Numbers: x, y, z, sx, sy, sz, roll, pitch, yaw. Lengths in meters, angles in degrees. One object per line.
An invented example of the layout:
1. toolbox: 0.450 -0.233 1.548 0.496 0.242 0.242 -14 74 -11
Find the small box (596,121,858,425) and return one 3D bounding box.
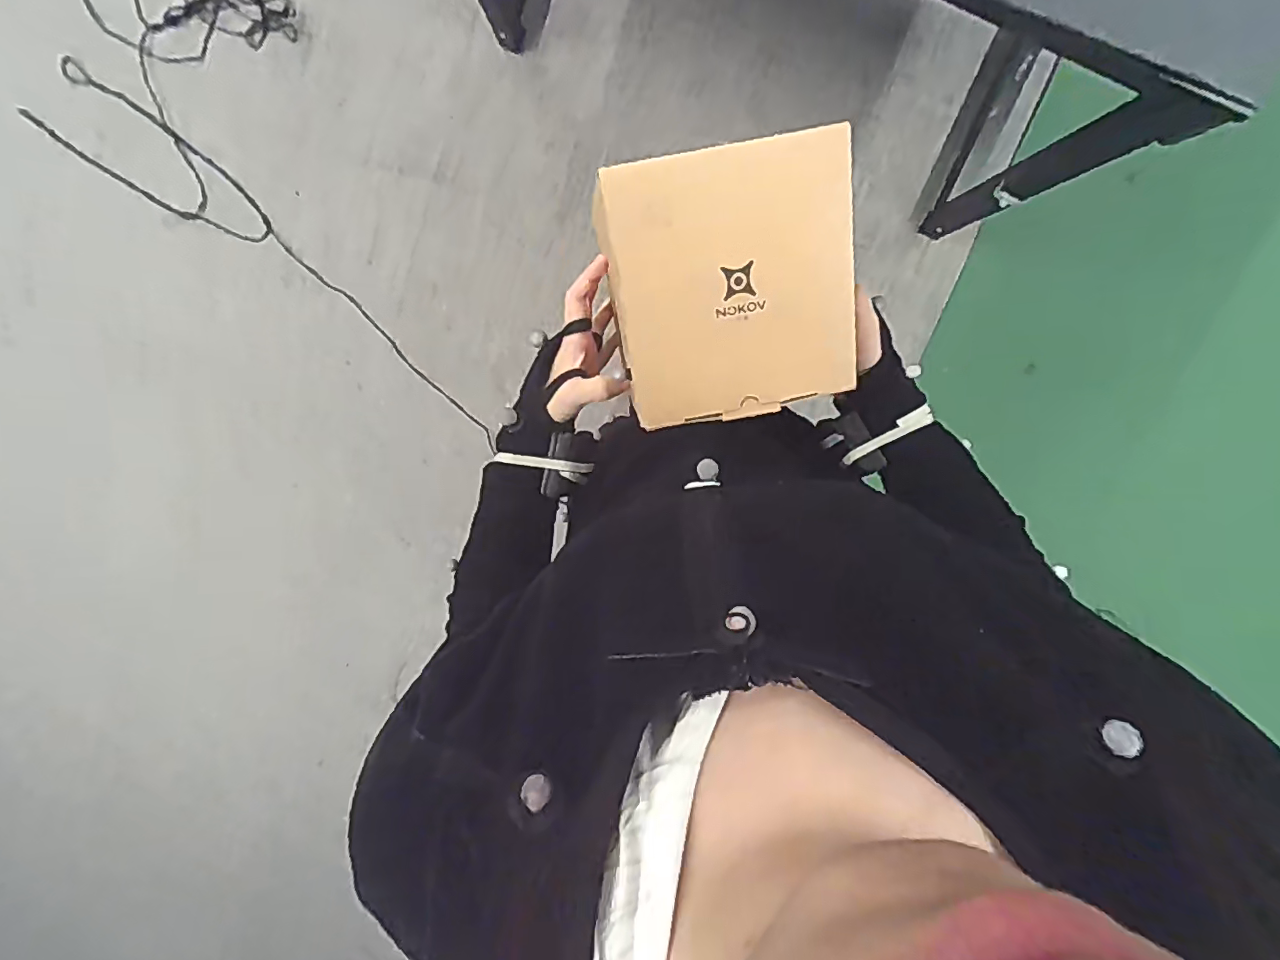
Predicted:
1. small box: 0.060 -0.162 0.444 0.168 0.176 0.179 -11 112 -2
